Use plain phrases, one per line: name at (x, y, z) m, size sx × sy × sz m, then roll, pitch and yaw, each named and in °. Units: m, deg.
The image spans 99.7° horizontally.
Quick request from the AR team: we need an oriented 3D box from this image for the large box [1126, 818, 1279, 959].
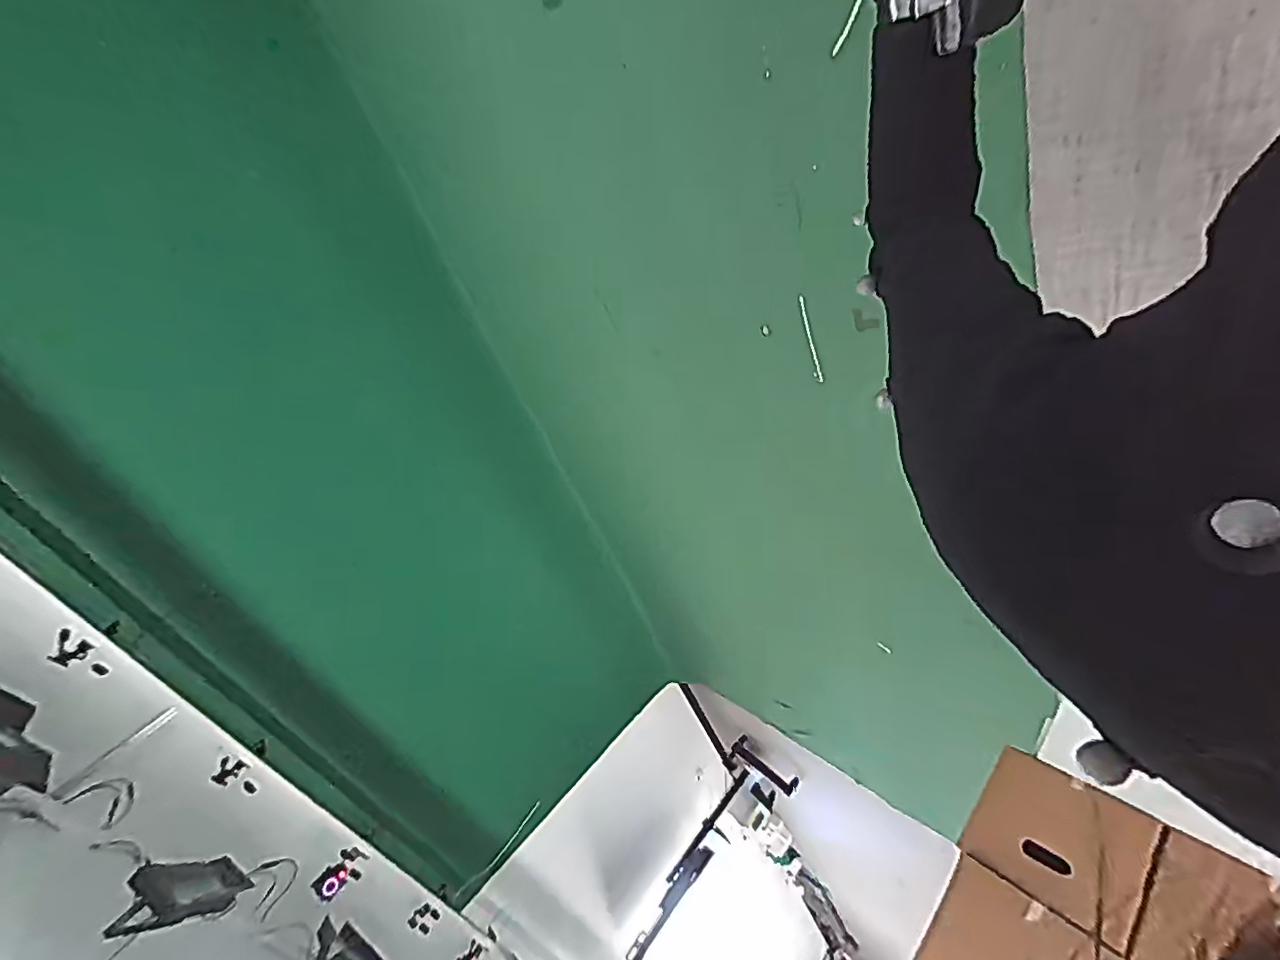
large box at (1.234, 0.999, 1.103) m, size 0.320 × 0.320 × 0.408 m, roll 18°, pitch 142°, yaw 49°
